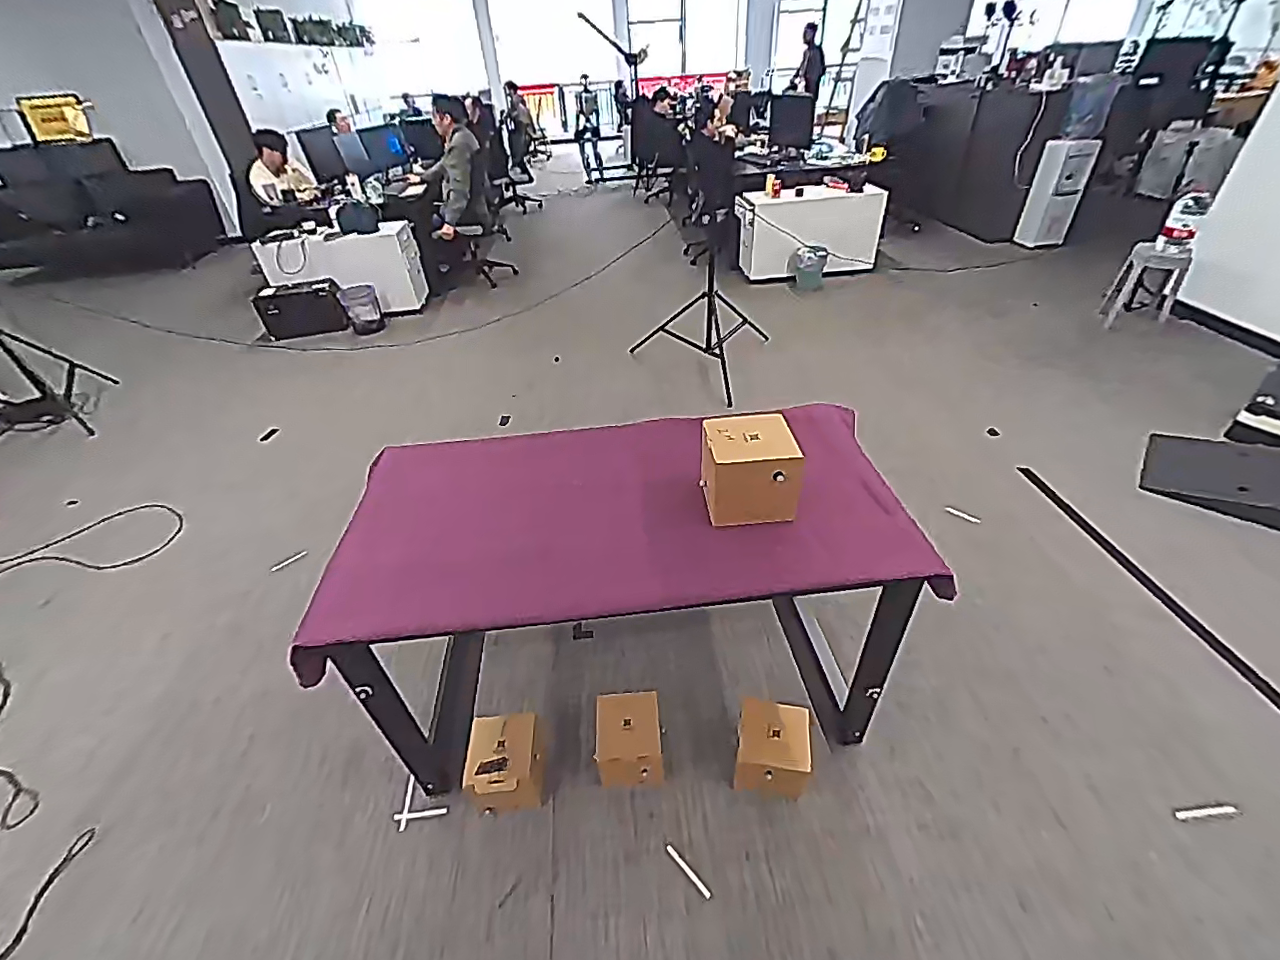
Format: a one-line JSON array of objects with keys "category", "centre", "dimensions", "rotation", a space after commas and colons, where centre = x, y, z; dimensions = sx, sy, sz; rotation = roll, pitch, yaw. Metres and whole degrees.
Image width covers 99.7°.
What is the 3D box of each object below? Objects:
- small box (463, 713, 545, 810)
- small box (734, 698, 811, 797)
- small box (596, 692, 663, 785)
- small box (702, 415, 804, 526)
[{"category": "small box", "centre": [-0.348, 0.743, 1.419], "dimensions": [0.168, 0.176, 0.179], "rotation": [-5, 37, -2]}, {"category": "small box", "centre": [0.343, 0.701, 1.413], "dimensions": [0.179, 0.176, 0.168], "rotation": [4, 40, 12]}, {"category": "small box", "centre": [-0.028, 0.698, 1.451], "dimensions": [0.168, 0.176, 0.179], "rotation": [-4, 37, -1]}, {"category": "small box", "centre": [0.231, -0.020, 1.155], "dimensions": [0.179, 0.176, 0.168], "rotation": [-5, 37, -1]}]
